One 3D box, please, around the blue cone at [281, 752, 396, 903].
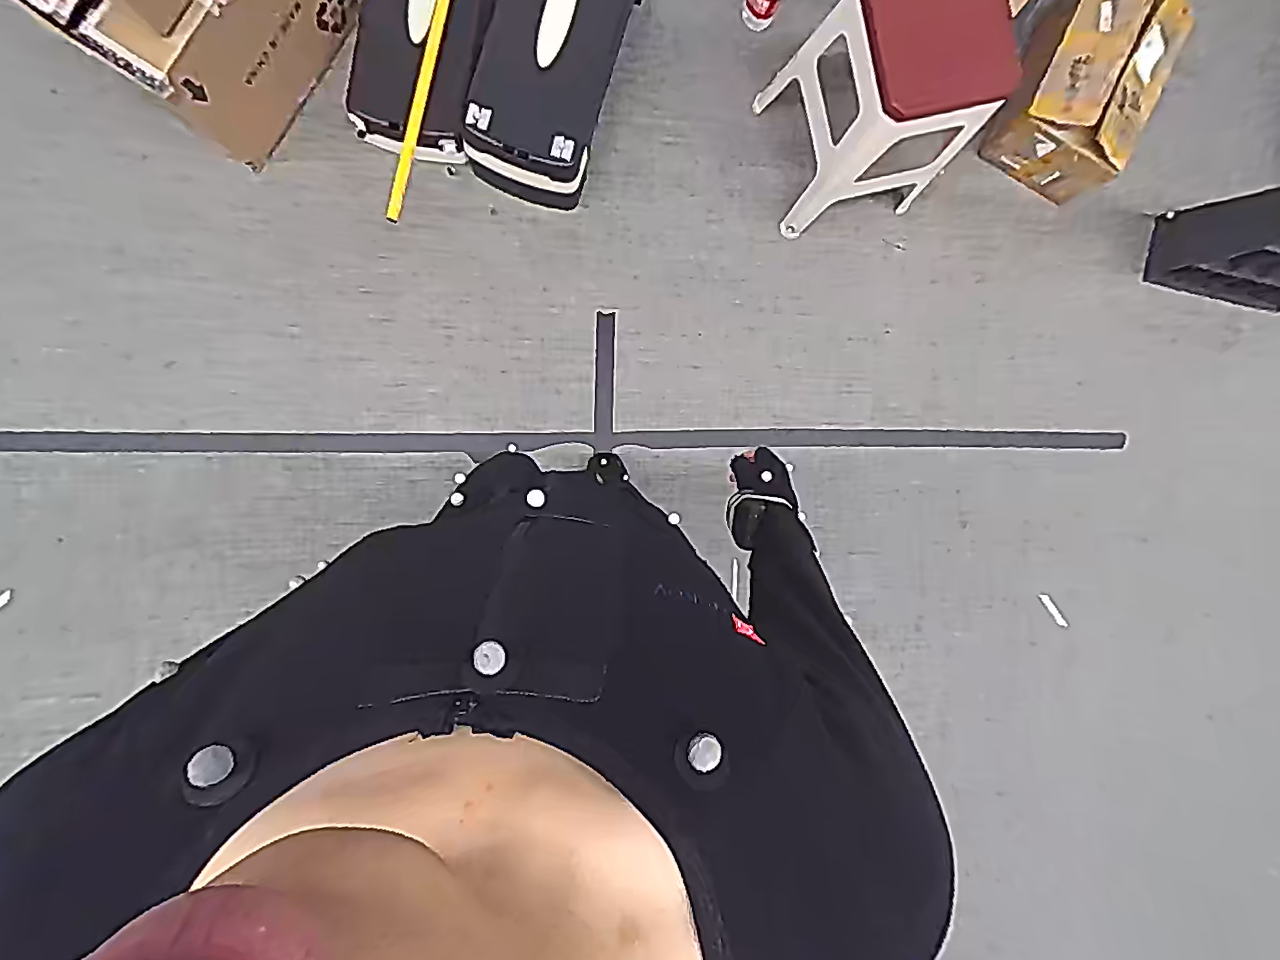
[{"bbox_3d":[-0.740,0.837,1.279,0.192,0.380,0.193,-5,93,-6],"label":"blue cone"}]
